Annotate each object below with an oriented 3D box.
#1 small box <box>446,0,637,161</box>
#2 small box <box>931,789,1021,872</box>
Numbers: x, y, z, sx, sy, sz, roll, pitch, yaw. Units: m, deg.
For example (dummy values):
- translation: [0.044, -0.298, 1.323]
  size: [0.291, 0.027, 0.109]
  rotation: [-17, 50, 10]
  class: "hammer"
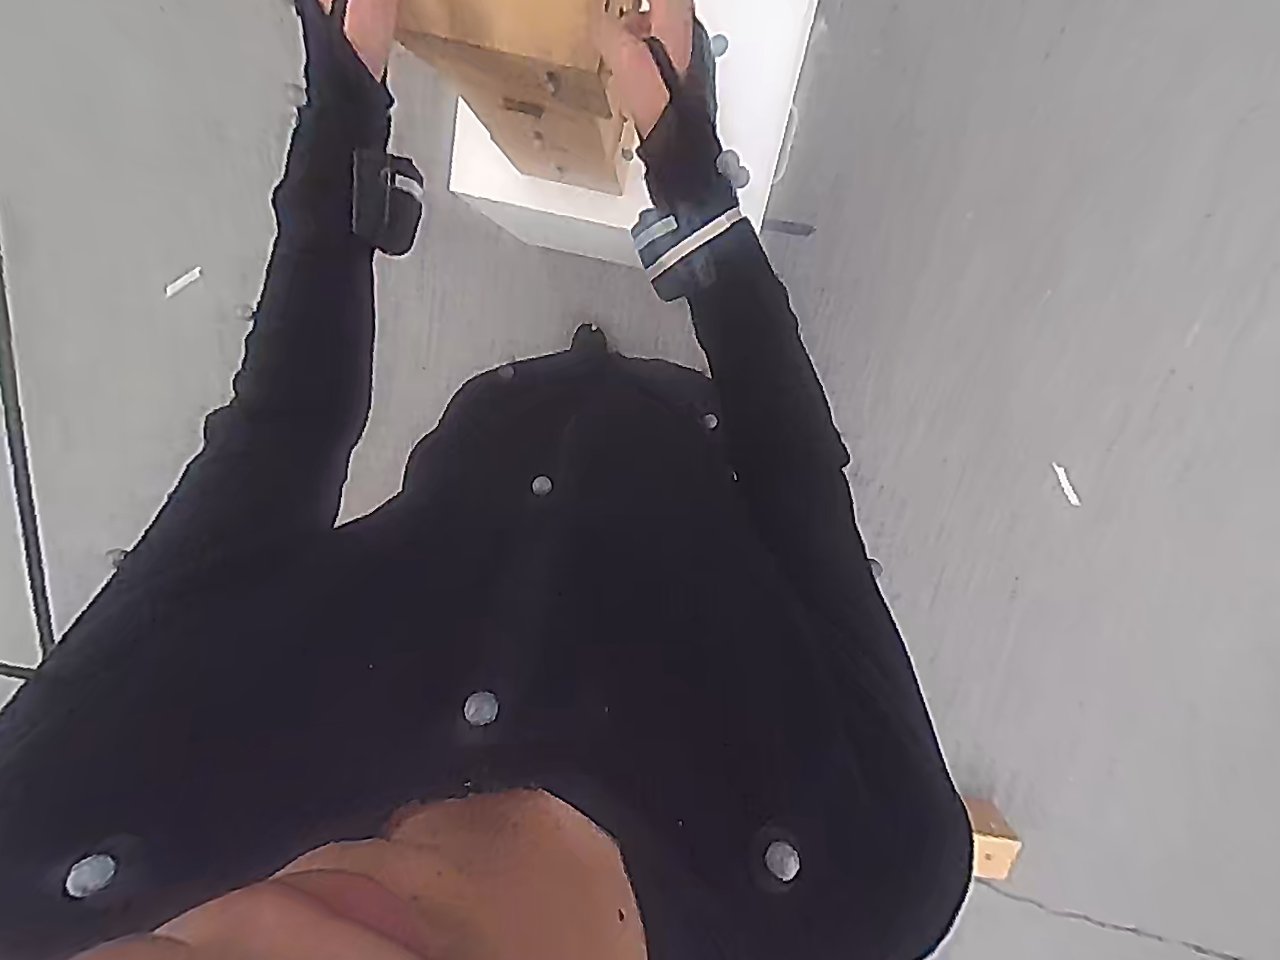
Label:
- translation: [-0.100, -0.503, 0.620]
  size: [0.168, 0.176, 0.179]
  rotation: [14, 105, -2]
  class: "small box"
- translation: [1.160, 1.211, 1.879]
  size: [0.179, 0.176, 0.168]
  rotation: [11, 105, -2]
  class: "small box"
